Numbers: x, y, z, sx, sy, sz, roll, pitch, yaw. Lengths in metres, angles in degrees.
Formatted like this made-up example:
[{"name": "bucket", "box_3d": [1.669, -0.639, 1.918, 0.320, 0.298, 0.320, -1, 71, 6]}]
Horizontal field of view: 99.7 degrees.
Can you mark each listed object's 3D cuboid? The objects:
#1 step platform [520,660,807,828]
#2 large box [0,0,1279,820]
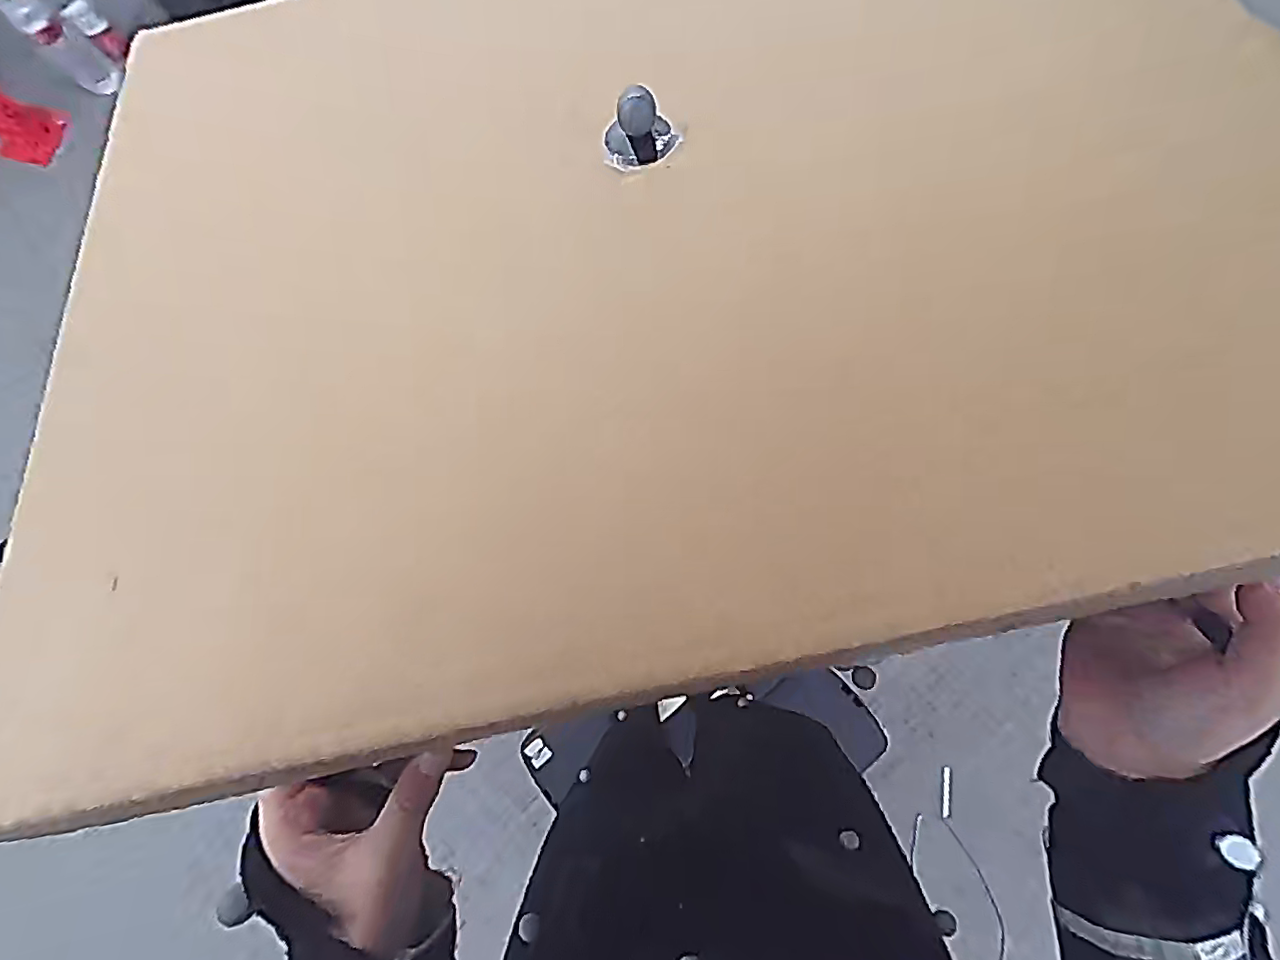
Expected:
[{"name": "step platform", "box_3d": [0.059, 0.474, 1.272, 0.684, 0.204, 0.286, -37, 81, -3]}, {"name": "large box", "box_3d": [0.005, -0.049, 0.314, 0.408, 0.320, 0.320, -14, 70, 3]}]
